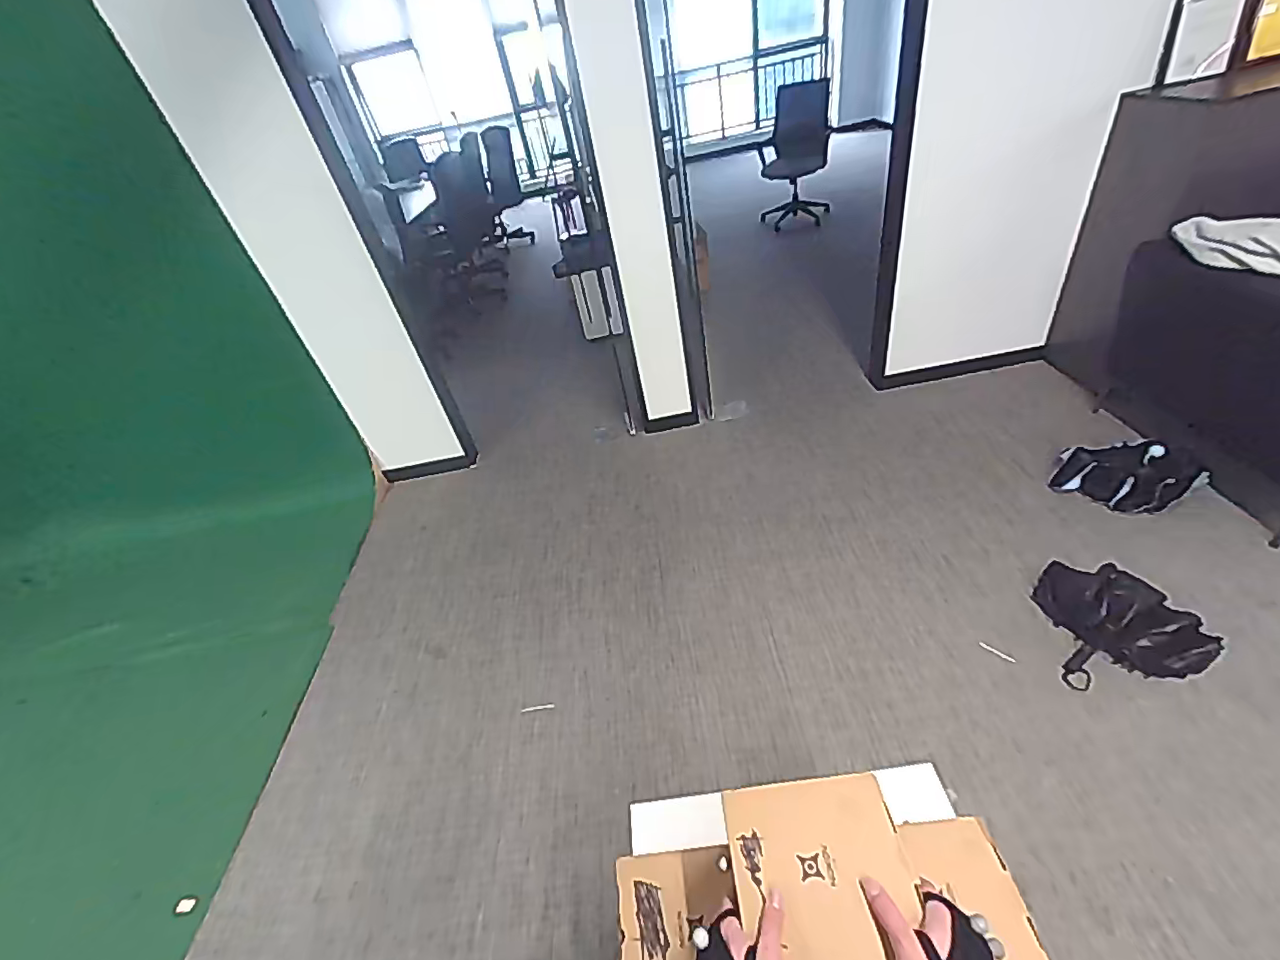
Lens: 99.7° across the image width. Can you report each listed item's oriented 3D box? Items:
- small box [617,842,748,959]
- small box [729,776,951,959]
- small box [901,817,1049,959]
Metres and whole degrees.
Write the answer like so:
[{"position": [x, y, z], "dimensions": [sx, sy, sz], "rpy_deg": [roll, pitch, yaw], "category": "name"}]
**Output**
[{"position": [0.070, 0.596, 0.698], "dimensions": [0.179, 0.176, 0.168], "rpy_deg": [-7, 39, 1], "category": "small box"}, {"position": [0.197, 0.450, 0.591], "dimensions": [0.179, 0.176, 0.168], "rpy_deg": [-8, 40, 3], "category": "small box"}, {"position": [0.367, 0.553, 0.683], "dimensions": [0.179, 0.176, 0.168], "rpy_deg": [-9, 39, 4], "category": "small box"}]
